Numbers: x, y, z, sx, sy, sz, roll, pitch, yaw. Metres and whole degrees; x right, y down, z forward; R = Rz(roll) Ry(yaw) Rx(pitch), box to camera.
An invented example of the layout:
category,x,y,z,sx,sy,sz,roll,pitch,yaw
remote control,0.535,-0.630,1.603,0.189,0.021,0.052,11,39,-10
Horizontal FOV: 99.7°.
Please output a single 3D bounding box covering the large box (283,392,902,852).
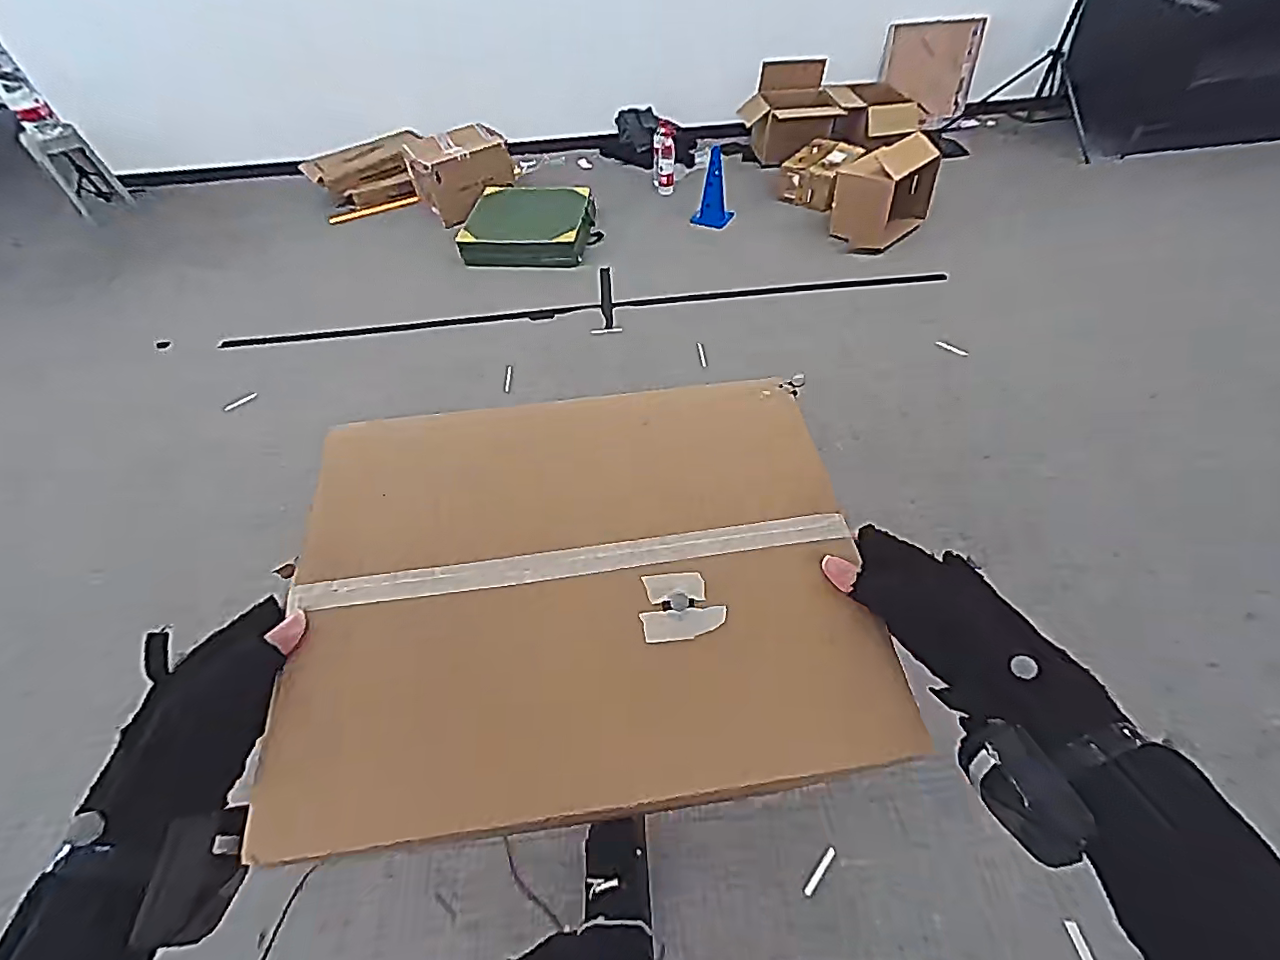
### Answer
category,x,y,z,sx,sy,sz,roll,pitch,yaw
large box,-0.044,0.149,0.542,0.408,0.320,0.320,-7,59,-4
